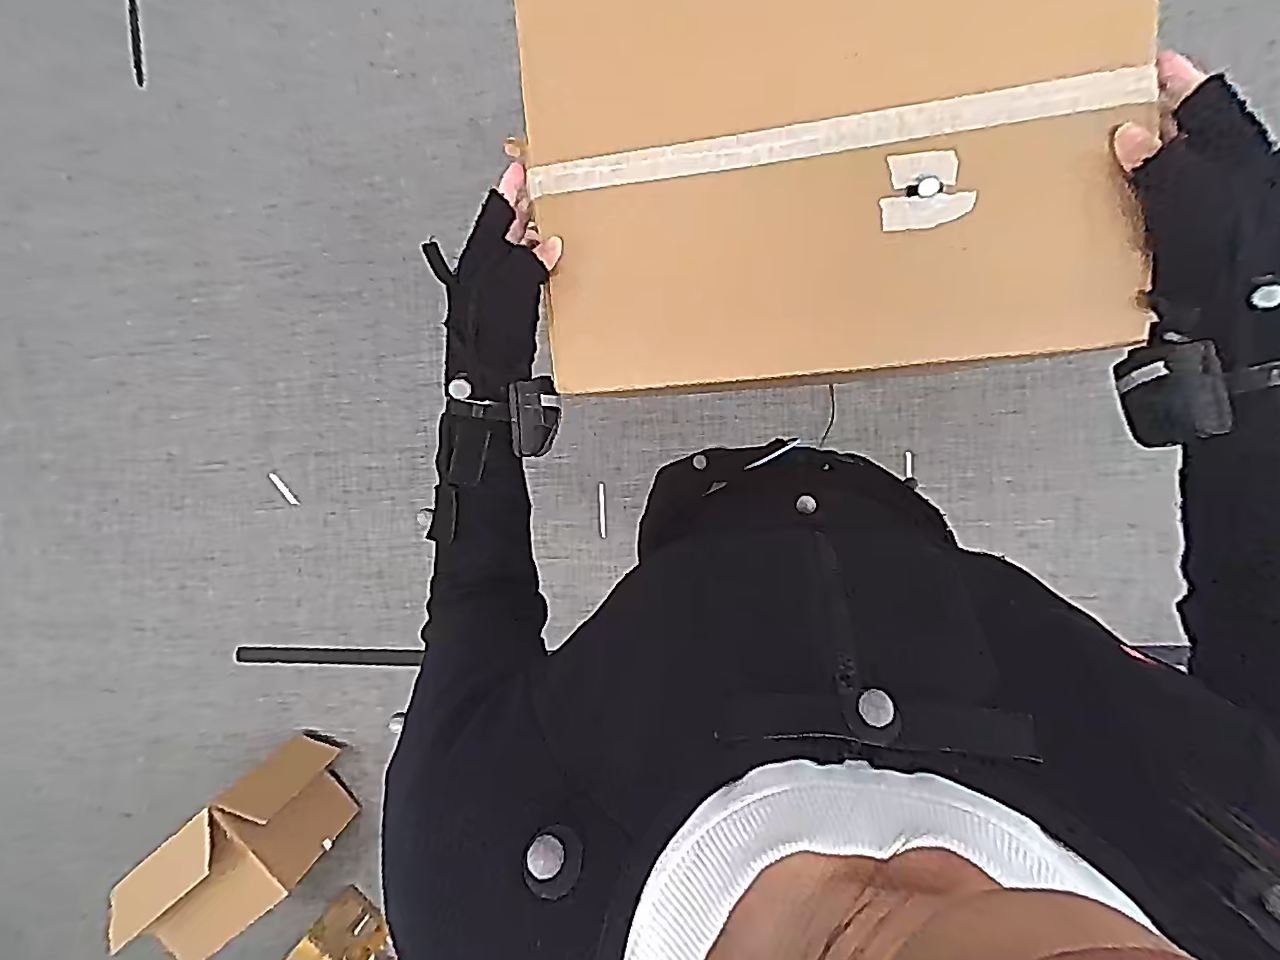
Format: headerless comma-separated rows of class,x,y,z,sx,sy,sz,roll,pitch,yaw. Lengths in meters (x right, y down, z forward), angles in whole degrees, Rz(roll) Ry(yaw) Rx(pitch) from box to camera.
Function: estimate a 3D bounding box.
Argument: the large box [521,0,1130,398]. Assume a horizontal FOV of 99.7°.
large box,0.140,-0.257,0.528,0.408,0.320,0.320,-4,98,8
